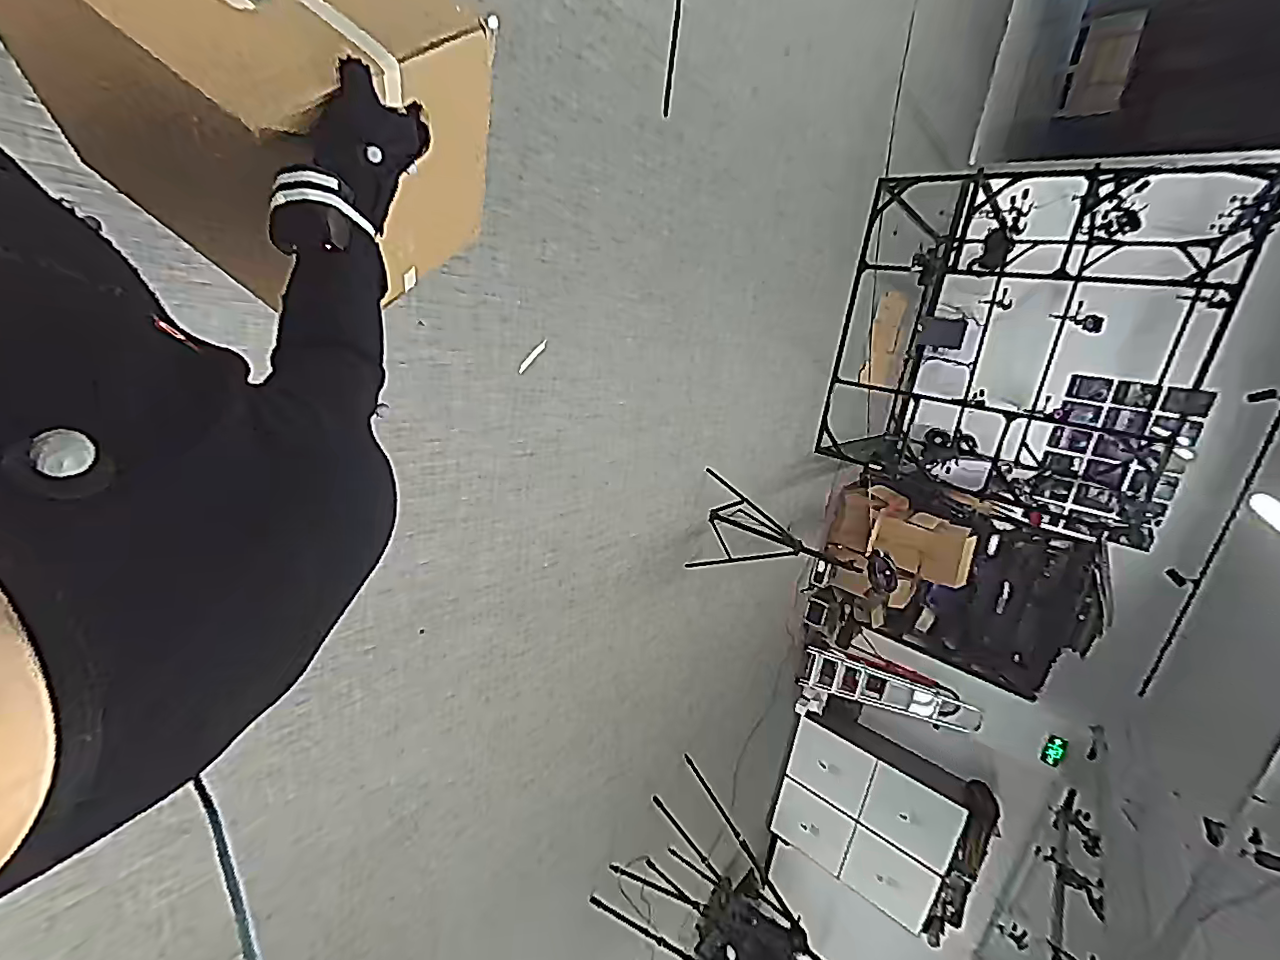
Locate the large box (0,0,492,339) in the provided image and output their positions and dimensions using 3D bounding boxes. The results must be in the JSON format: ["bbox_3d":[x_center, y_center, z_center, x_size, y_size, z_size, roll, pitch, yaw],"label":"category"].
[{"bbox_3d":[-0.452,-0.461,0.659,0.320,0.408,0.320,-53,-178,-30],"label":"large box"}]
